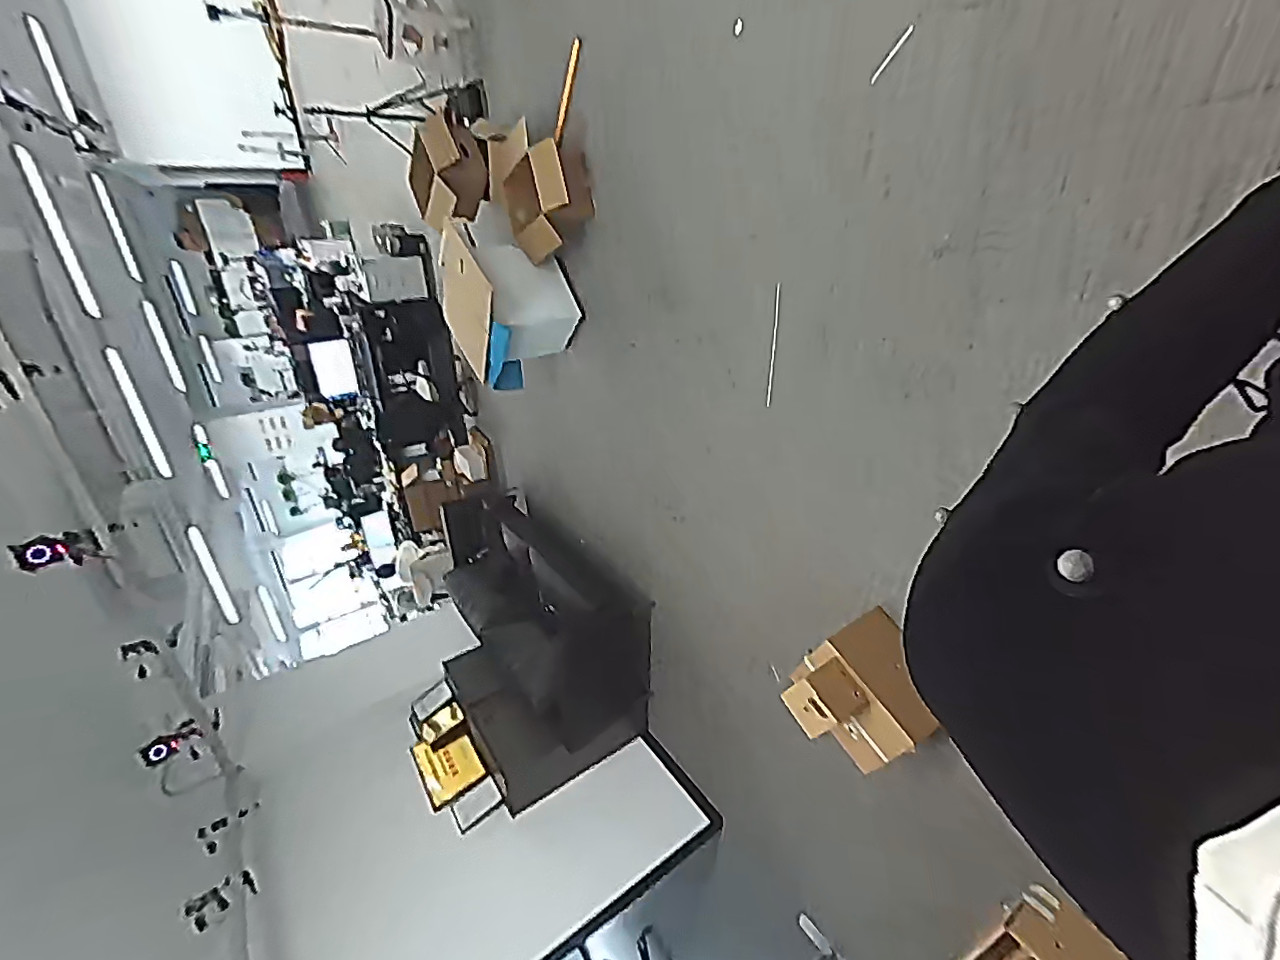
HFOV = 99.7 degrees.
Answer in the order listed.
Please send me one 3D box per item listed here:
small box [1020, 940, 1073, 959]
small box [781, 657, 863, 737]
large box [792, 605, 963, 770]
[{"bbox_3d":[1.008,1.286,1.317,0.168,0.176,0.179,40,135,41],"label":"small box"},{"bbox_3d":[0.620,0.731,1.831,0.168,0.176,0.179,54,144,26],"label":"small box"},{"bbox_3d":[0.844,0.740,1.961,0.408,0.320,0.320,51,144,28],"label":"large box"}]
